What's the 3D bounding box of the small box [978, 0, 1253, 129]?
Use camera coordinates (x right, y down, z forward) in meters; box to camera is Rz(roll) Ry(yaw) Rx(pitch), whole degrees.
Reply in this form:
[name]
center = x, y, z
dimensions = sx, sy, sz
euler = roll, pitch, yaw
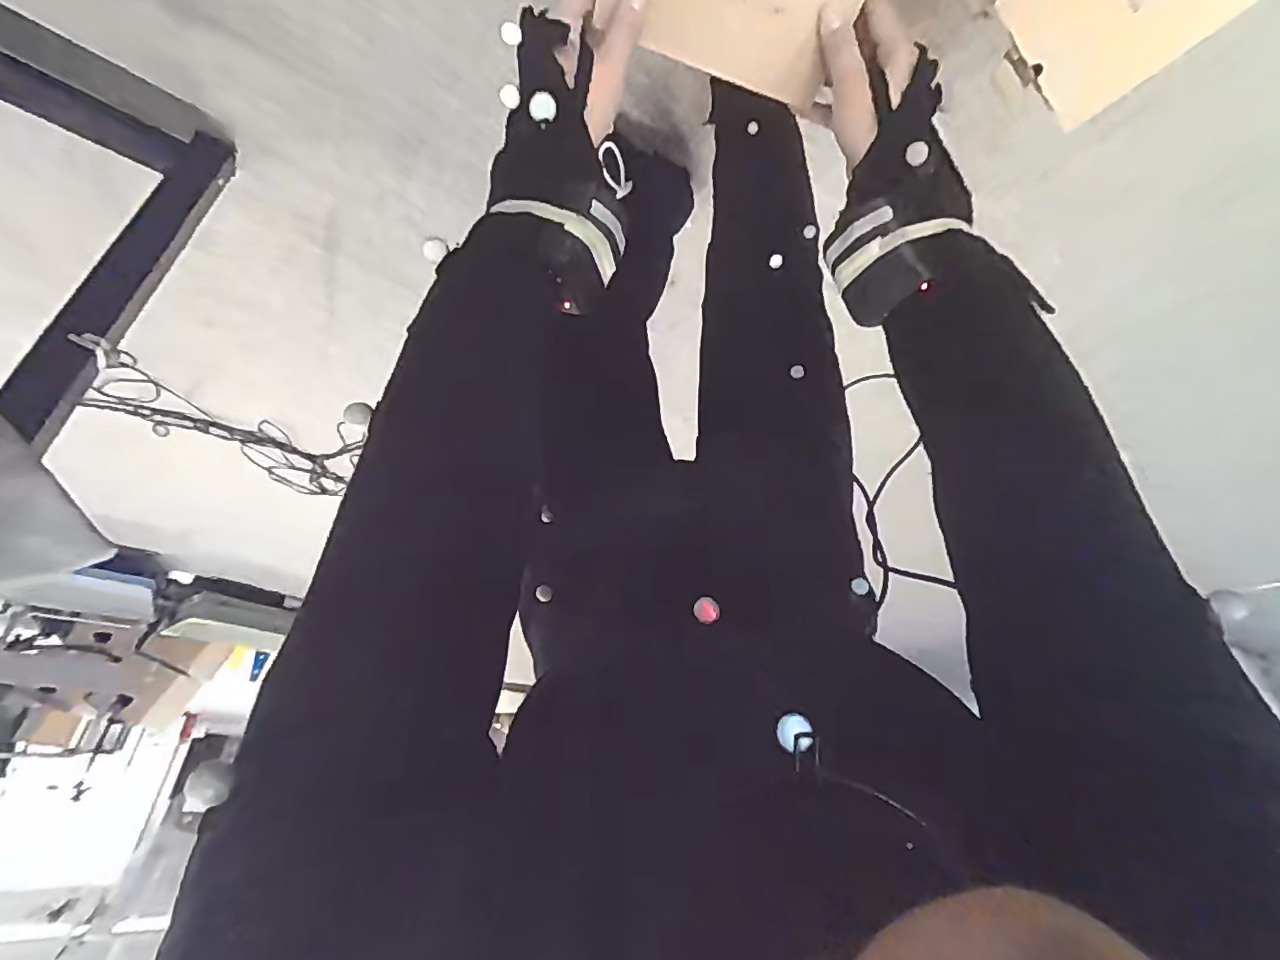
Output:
[small box]
center = 0.402, -0.466, 0.461
dimensions = 0.168, 0.176, 0.179
euler = 22, 144, -32
